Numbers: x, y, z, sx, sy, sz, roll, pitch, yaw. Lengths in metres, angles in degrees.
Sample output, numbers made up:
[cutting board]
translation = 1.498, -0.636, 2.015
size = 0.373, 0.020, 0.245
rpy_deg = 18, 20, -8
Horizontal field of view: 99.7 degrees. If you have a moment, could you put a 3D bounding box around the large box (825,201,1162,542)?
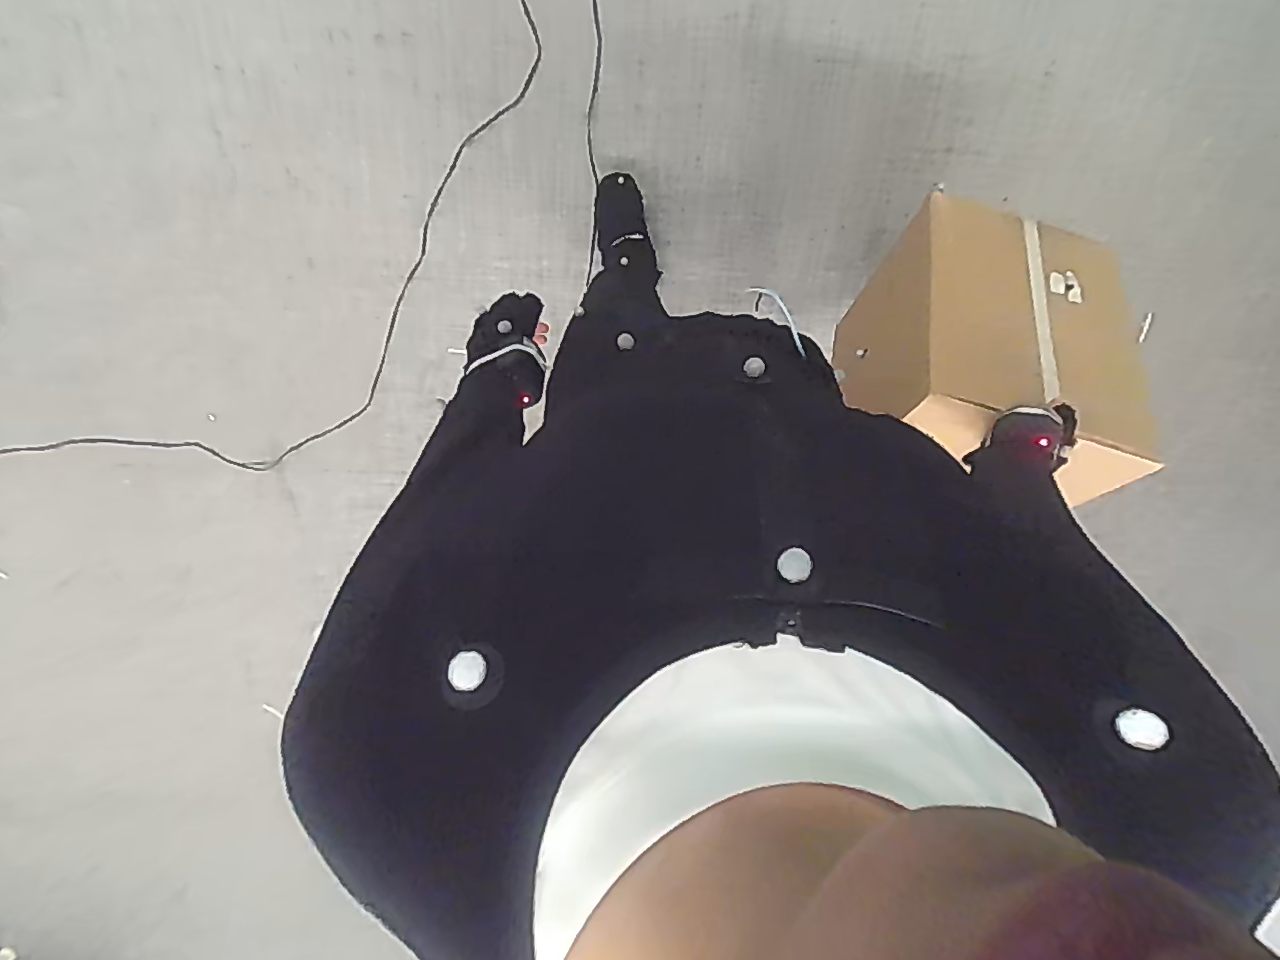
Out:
[large box]
translation = 0.524, -0.161, 0.888
size = 0.320, 0.408, 0.320
rpy_deg = 17, 152, -2
